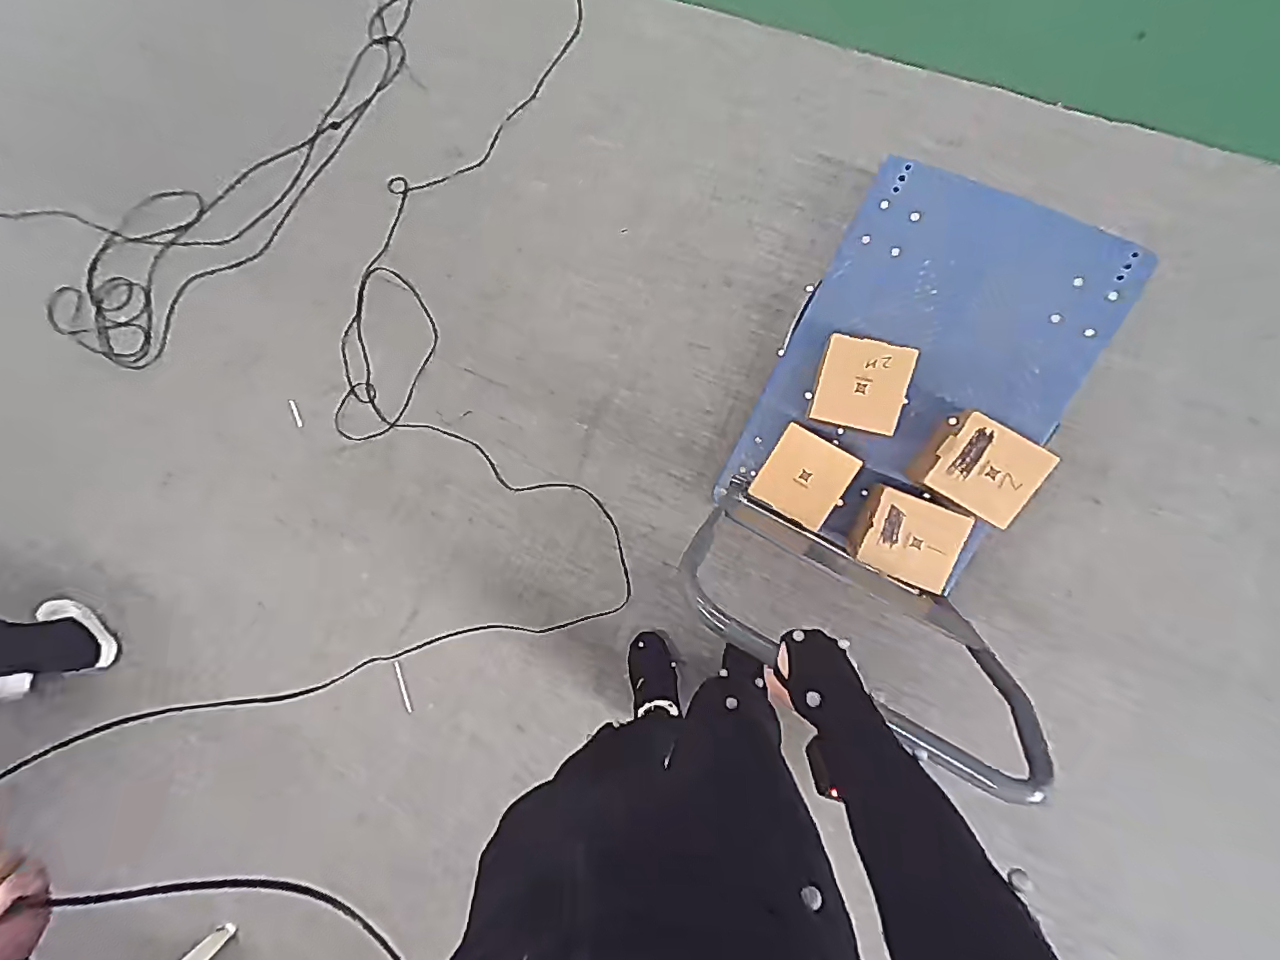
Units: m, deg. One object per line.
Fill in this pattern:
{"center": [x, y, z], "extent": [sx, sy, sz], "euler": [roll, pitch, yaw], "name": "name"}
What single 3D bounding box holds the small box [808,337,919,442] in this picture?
{"center": [0.461, -0.186, 1.146], "extent": [0.168, 0.176, 0.179], "euler": [16, 98, 12], "name": "small box"}
